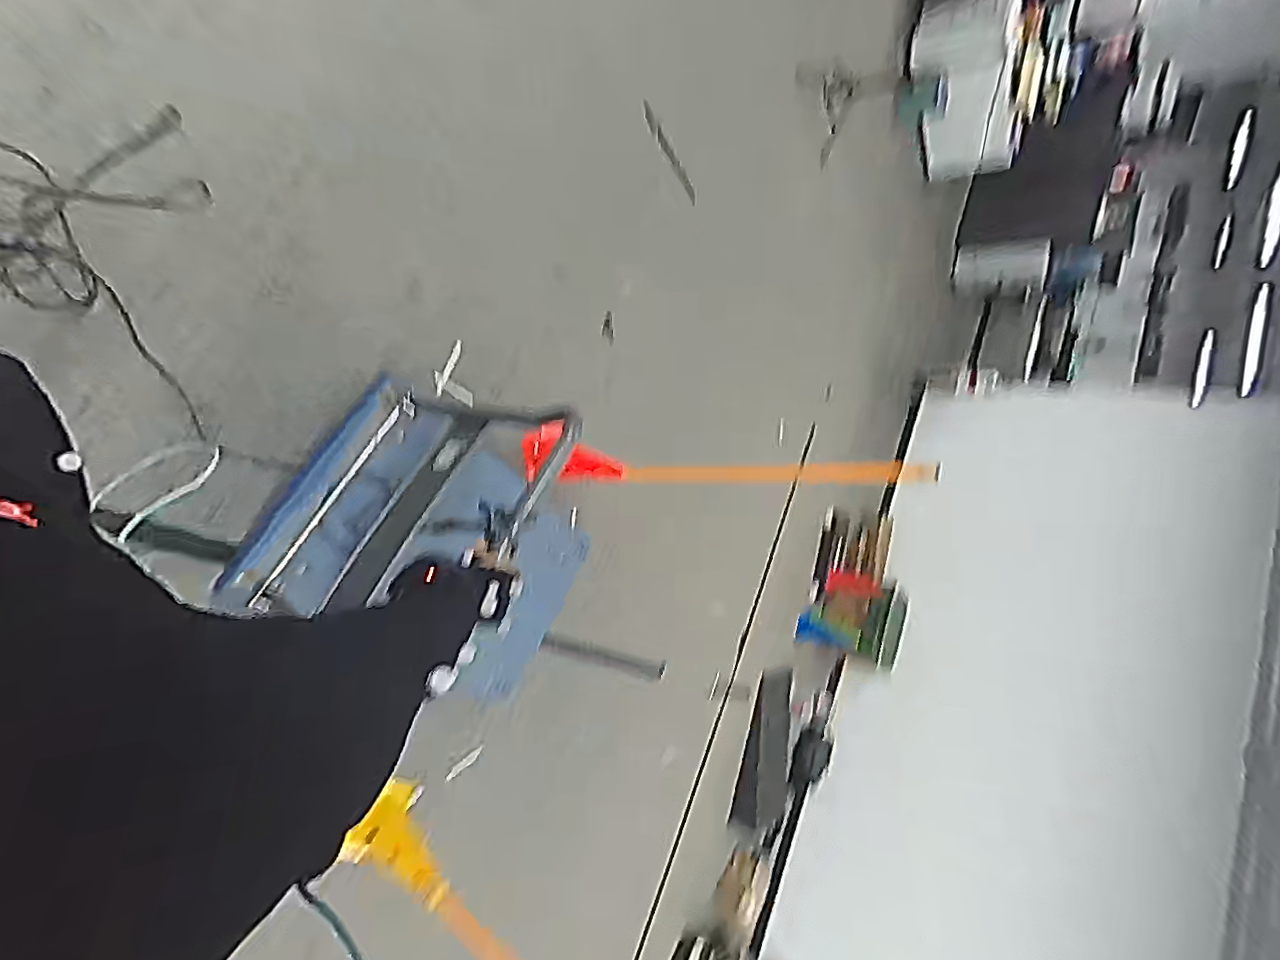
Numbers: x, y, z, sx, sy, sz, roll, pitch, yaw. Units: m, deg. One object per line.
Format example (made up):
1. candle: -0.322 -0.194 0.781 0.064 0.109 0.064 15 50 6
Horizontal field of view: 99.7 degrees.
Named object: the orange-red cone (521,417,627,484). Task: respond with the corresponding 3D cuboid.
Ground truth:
1. orange-red cone: -0.184 -0.069 1.727 0.198 0.360 0.199 -29 123 -42
